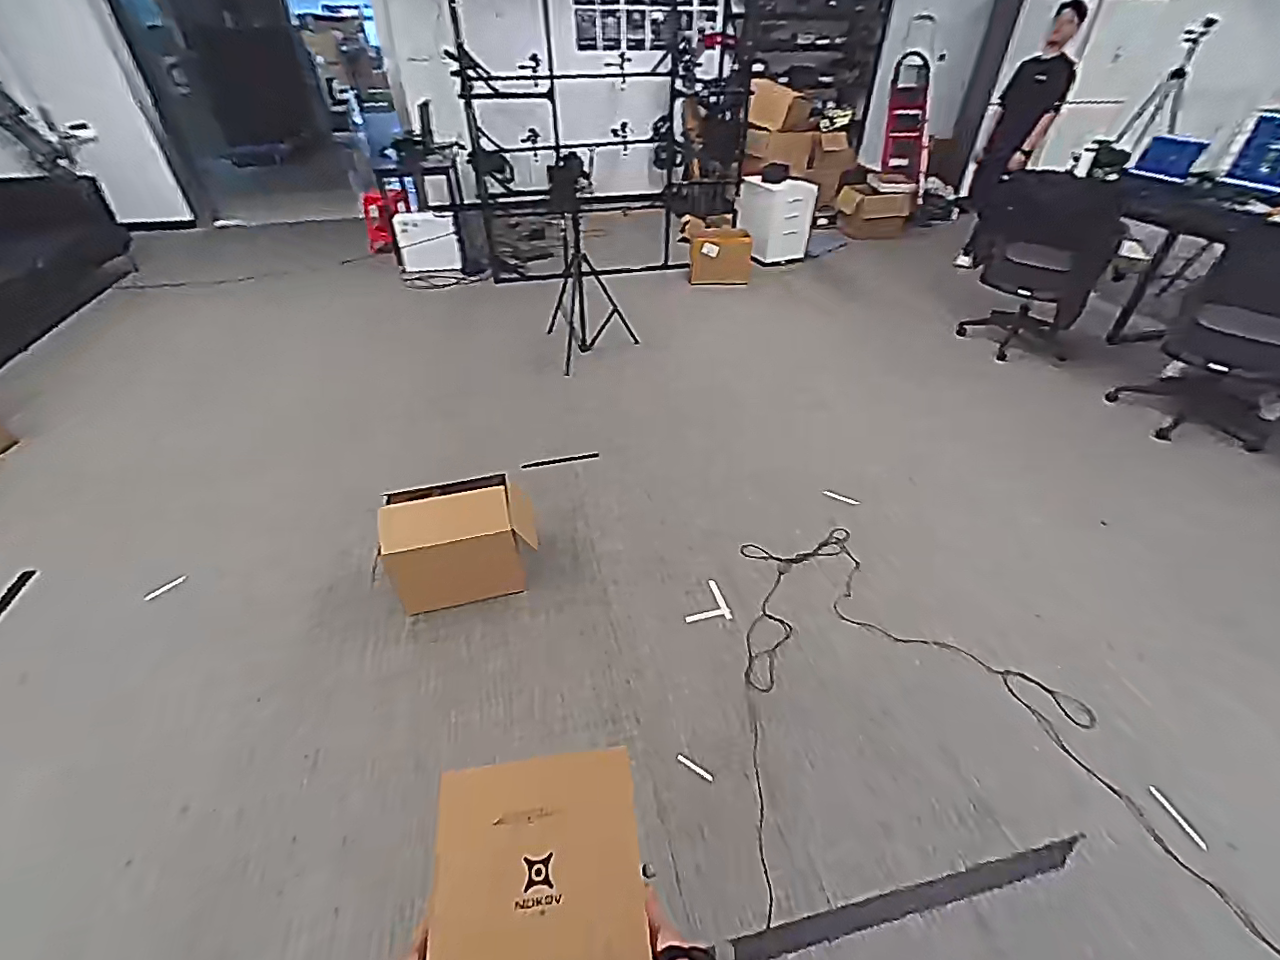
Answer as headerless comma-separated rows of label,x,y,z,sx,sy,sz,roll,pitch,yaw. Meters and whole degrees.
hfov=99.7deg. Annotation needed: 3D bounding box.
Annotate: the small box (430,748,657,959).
small box,-0.078,0.361,0.481,0.168,0.176,0.179,-5,51,-8
